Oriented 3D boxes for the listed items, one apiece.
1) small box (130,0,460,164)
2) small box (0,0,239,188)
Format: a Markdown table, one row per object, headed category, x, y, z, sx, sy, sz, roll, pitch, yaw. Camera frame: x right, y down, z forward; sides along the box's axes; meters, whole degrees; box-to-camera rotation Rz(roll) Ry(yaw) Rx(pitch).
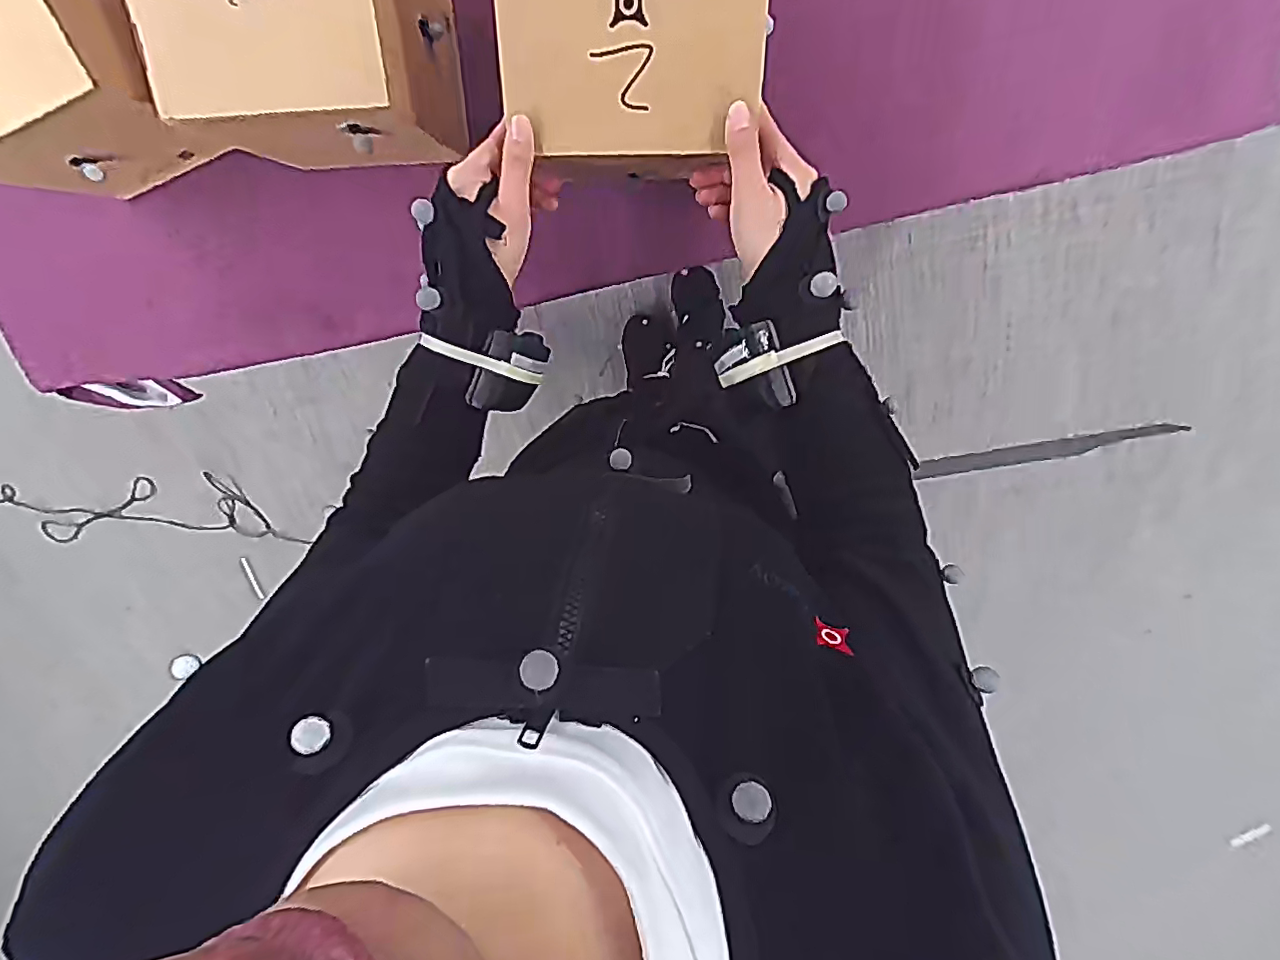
| category | x | y | z | sx | sy | sz | roll | pitch | yaw |
| --- | --- | --- | --- | --- | --- | --- | --- | --- | --- |
| small box | -0.259 | -0.368 | 0.435 | 0.179 | 0.176 | 0.168 | -1 | 108 | 4 |
| small box | -0.491 | -0.365 | 0.450 | 0.168 | 0.176 | 0.179 | -18 | 108 | 10 |
